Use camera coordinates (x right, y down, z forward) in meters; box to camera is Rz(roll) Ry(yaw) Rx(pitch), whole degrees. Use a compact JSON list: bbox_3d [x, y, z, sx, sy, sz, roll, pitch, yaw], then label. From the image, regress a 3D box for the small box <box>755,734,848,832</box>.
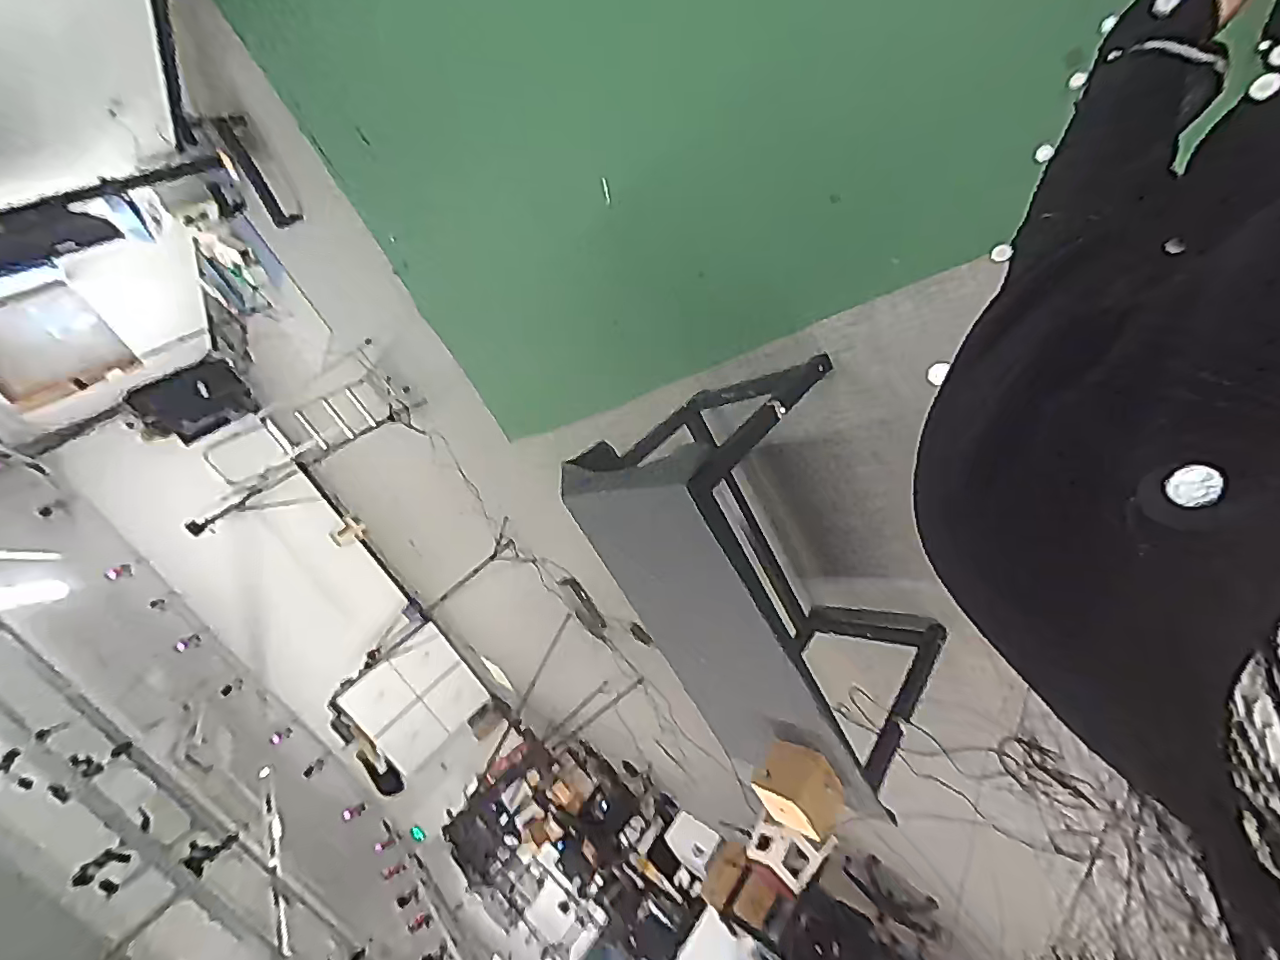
[{"bbox_3d":[0.483,0.893,1.615,0.179,0.176,0.168,-11,116,54],"label":"small box"}]
